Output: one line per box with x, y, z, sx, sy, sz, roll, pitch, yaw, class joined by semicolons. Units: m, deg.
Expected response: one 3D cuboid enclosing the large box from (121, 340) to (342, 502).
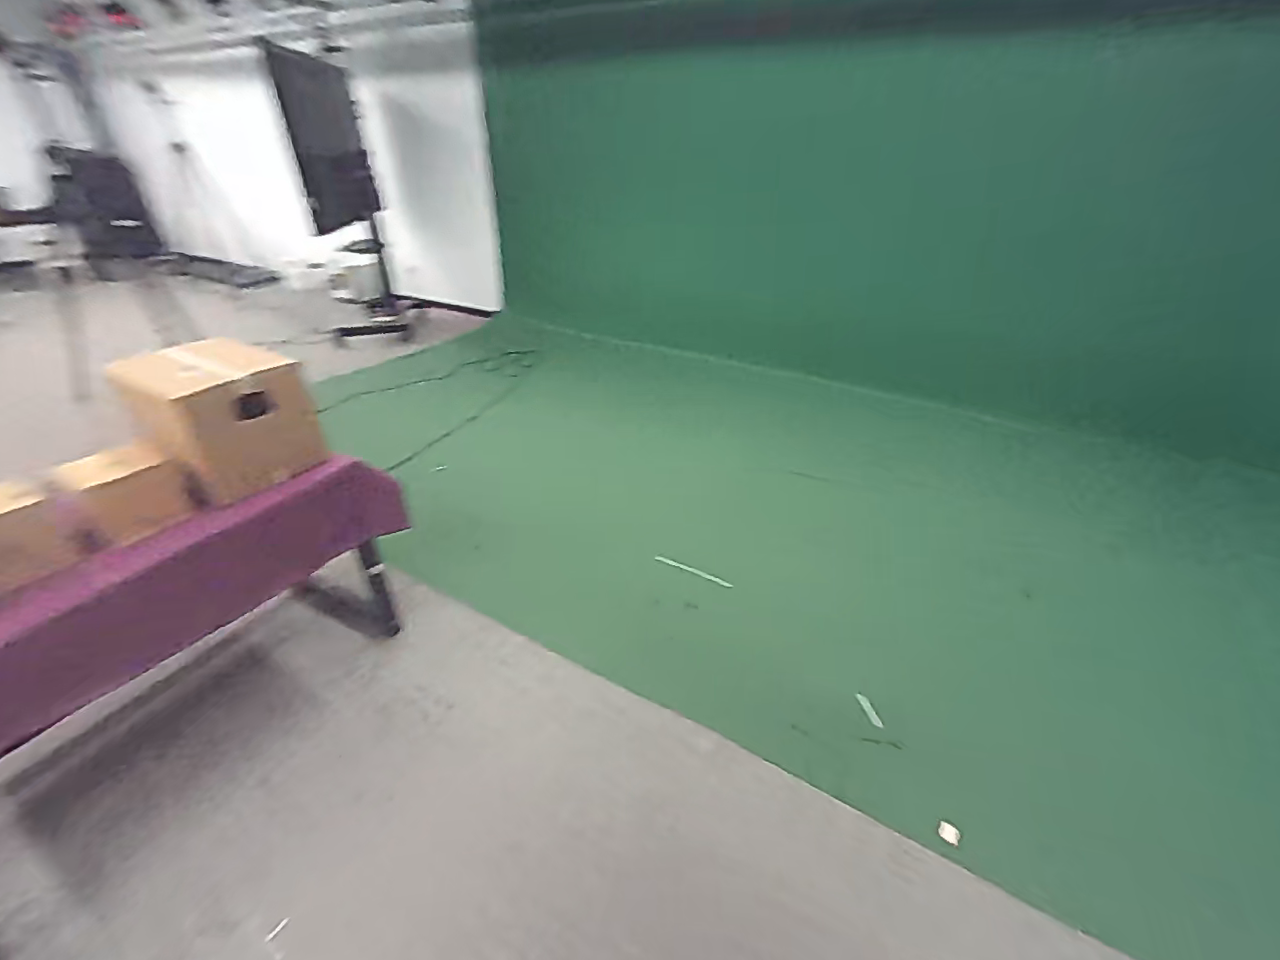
-1.150;-0.184;1.550;0.408;0.320;0.320;19;36;25;large box
